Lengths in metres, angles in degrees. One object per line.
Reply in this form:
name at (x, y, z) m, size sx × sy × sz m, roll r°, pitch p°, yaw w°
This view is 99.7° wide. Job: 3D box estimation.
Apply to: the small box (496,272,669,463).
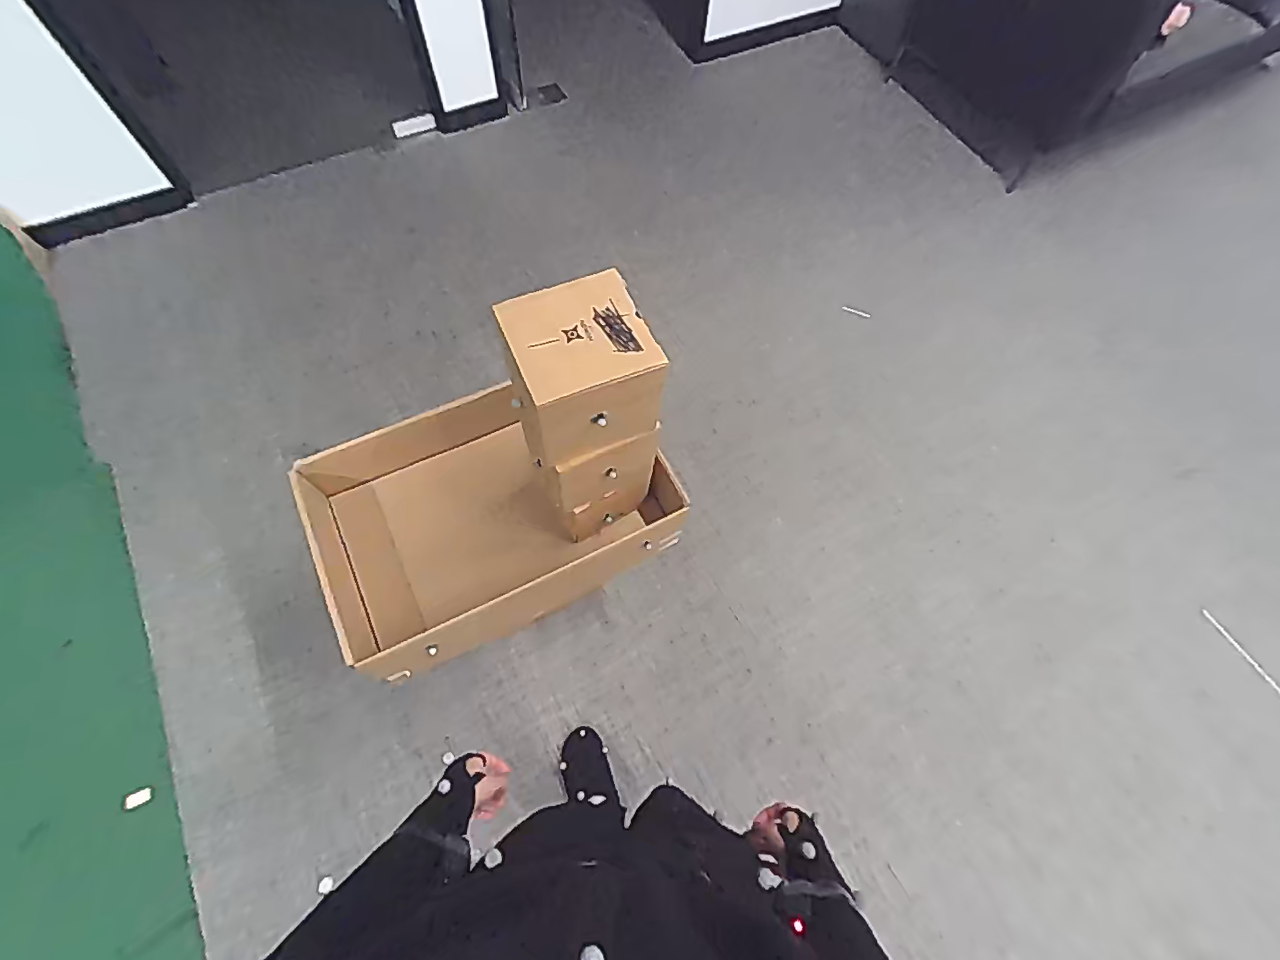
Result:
small box at (-0.079, -0.148, 0.748) m, size 0.179 × 0.176 × 0.168 m, roll -21°, pitch 69°, yaw -12°
